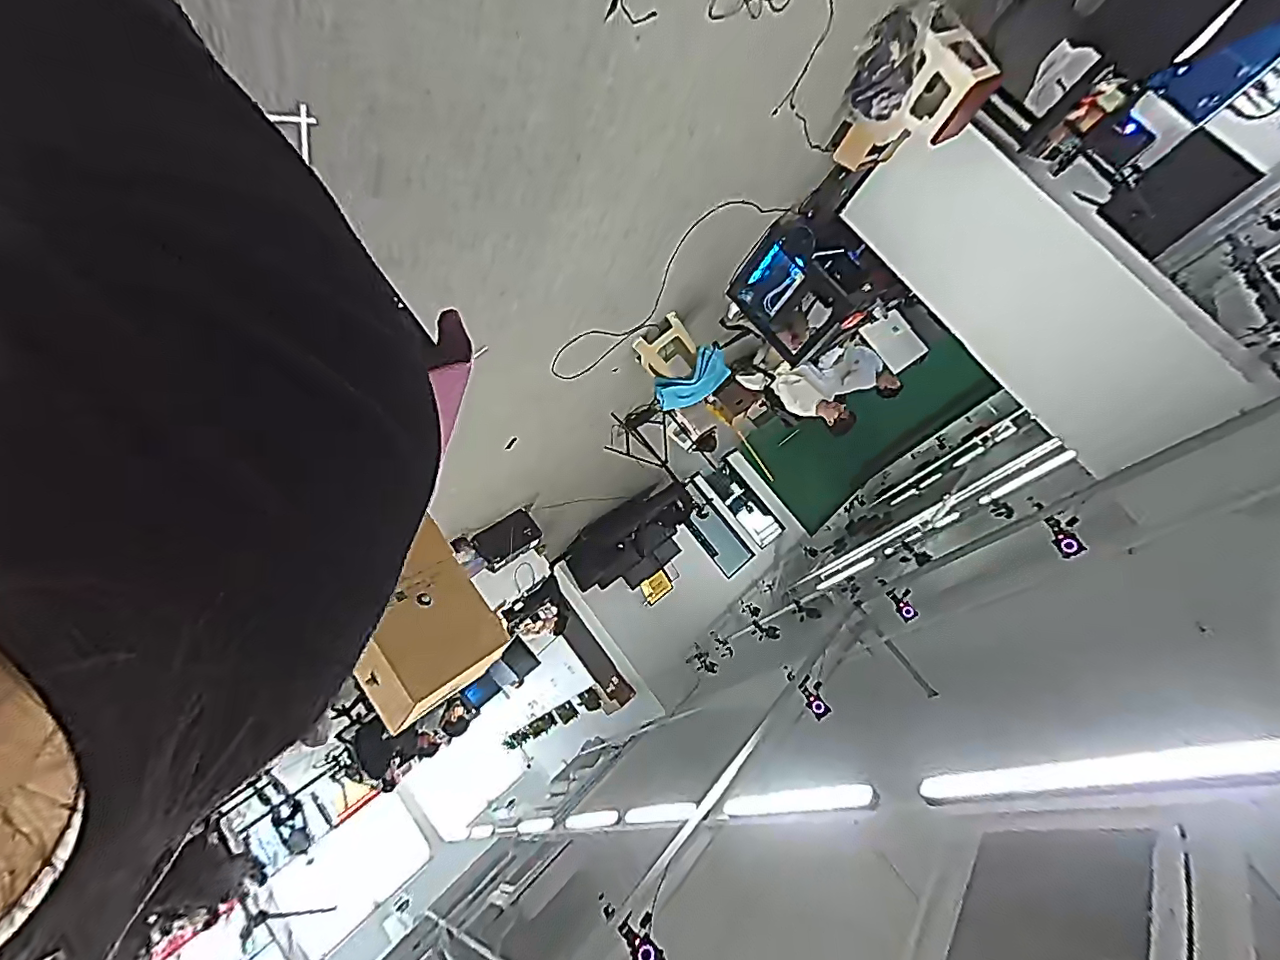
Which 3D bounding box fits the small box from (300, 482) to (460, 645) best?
[{"bbox_3d":[-0.427,0.132,0.881,0.168,0.176,0.179,-29,165,-44],"label":"small box"}]
